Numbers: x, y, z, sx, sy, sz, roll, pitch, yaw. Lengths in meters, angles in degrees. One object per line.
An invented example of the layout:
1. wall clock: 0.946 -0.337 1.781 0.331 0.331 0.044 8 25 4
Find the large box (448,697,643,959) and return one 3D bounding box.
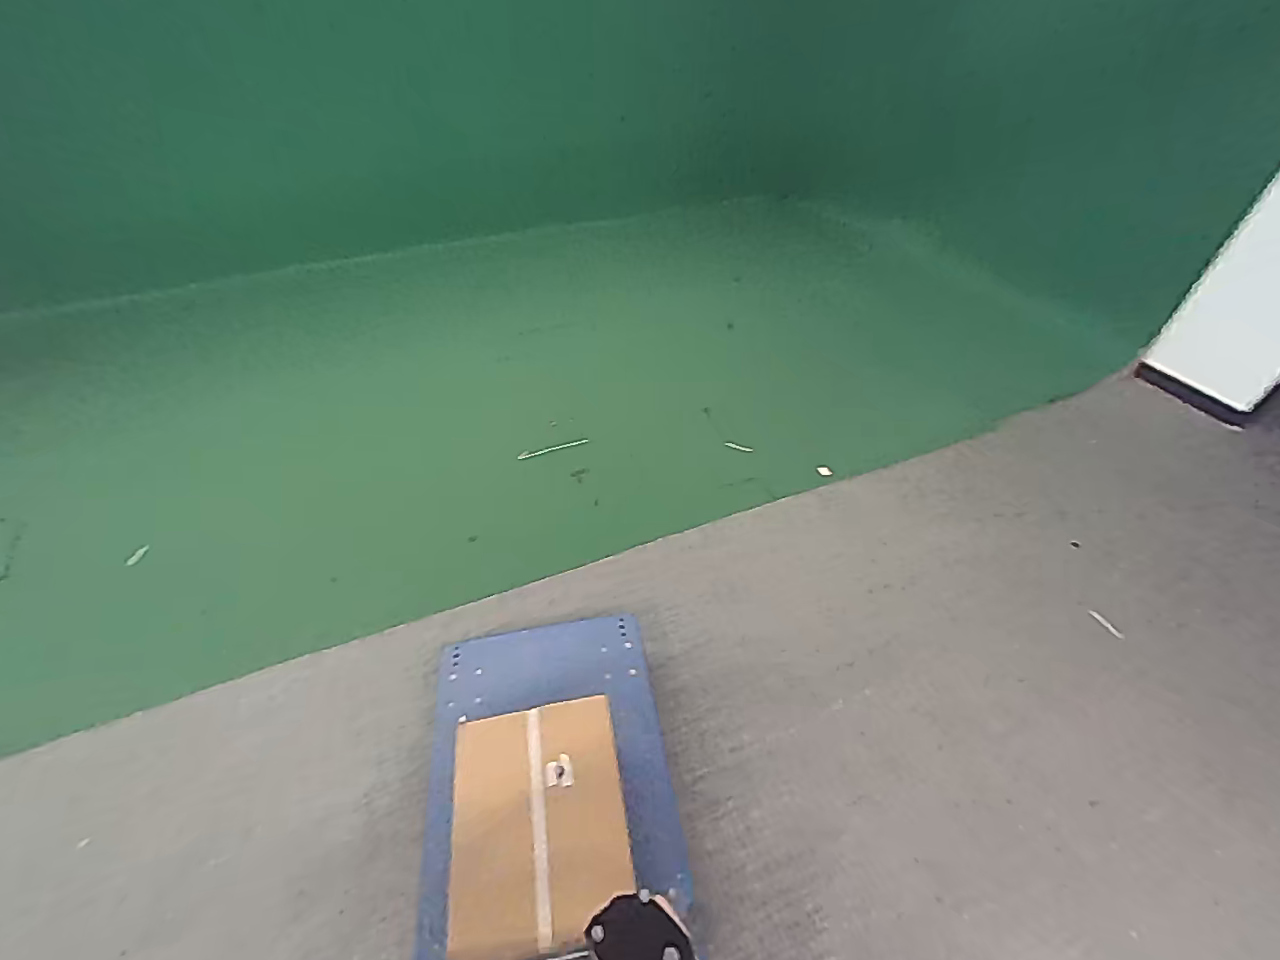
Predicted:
1. large box: -0.186 0.732 1.110 0.320 0.320 0.408 -8 44 -7
